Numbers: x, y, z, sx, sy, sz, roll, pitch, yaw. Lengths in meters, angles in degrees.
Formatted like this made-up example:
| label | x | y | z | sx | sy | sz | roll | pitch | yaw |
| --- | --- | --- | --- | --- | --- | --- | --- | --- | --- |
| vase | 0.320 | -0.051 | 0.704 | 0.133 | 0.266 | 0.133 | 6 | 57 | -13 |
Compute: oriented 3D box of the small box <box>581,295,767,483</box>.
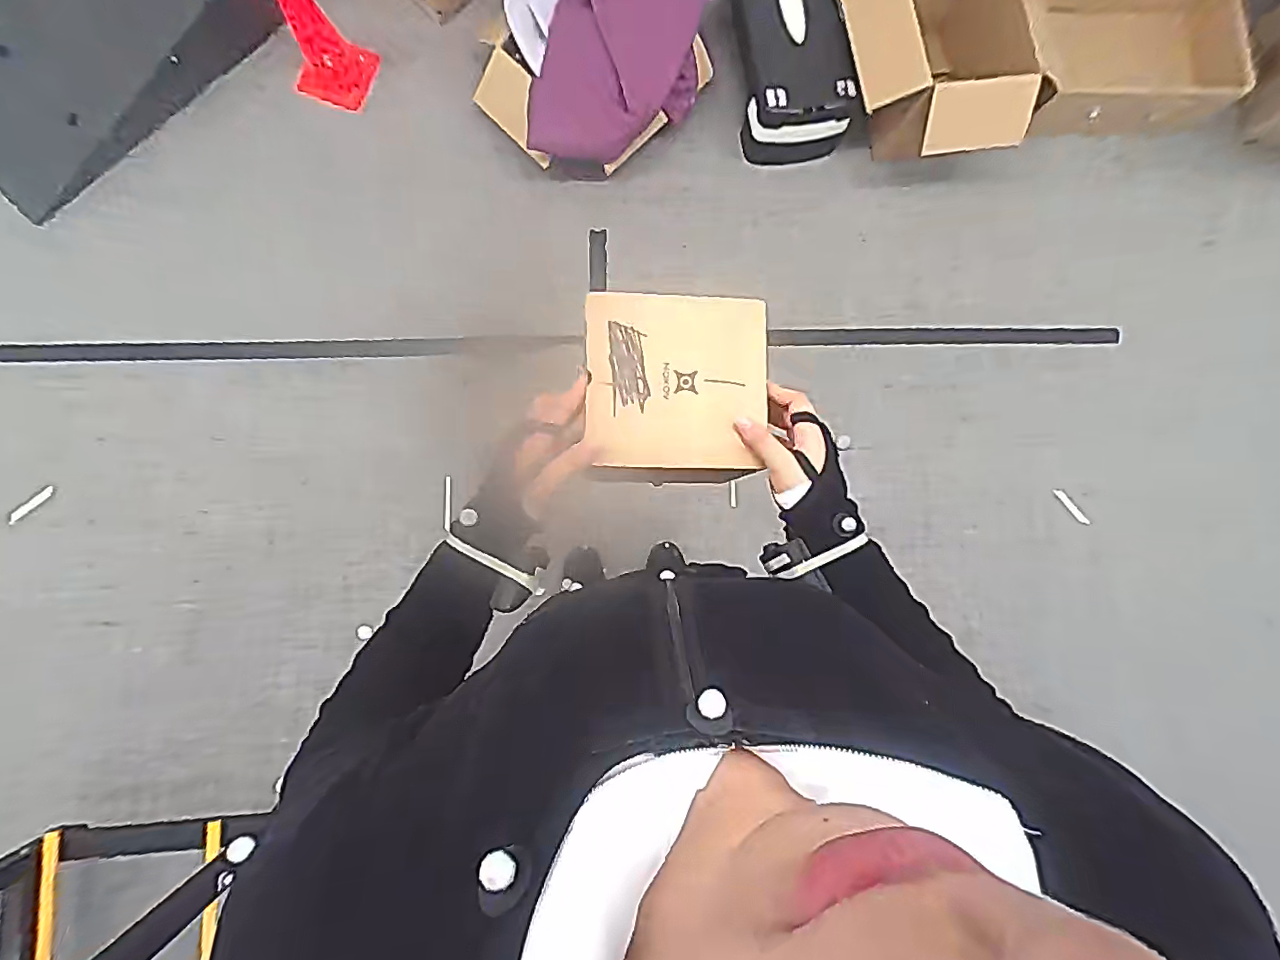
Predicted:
| label | x | y | z | sx | sy | sz | roll | pitch | yaw |
| --- | --- | --- | --- | --- | --- | --- | --- | --- | --- |
| small box | 0.027 | -0.084 | 0.585 | 0.179 | 0.176 | 0.168 | 1 | 86 | -6 |
